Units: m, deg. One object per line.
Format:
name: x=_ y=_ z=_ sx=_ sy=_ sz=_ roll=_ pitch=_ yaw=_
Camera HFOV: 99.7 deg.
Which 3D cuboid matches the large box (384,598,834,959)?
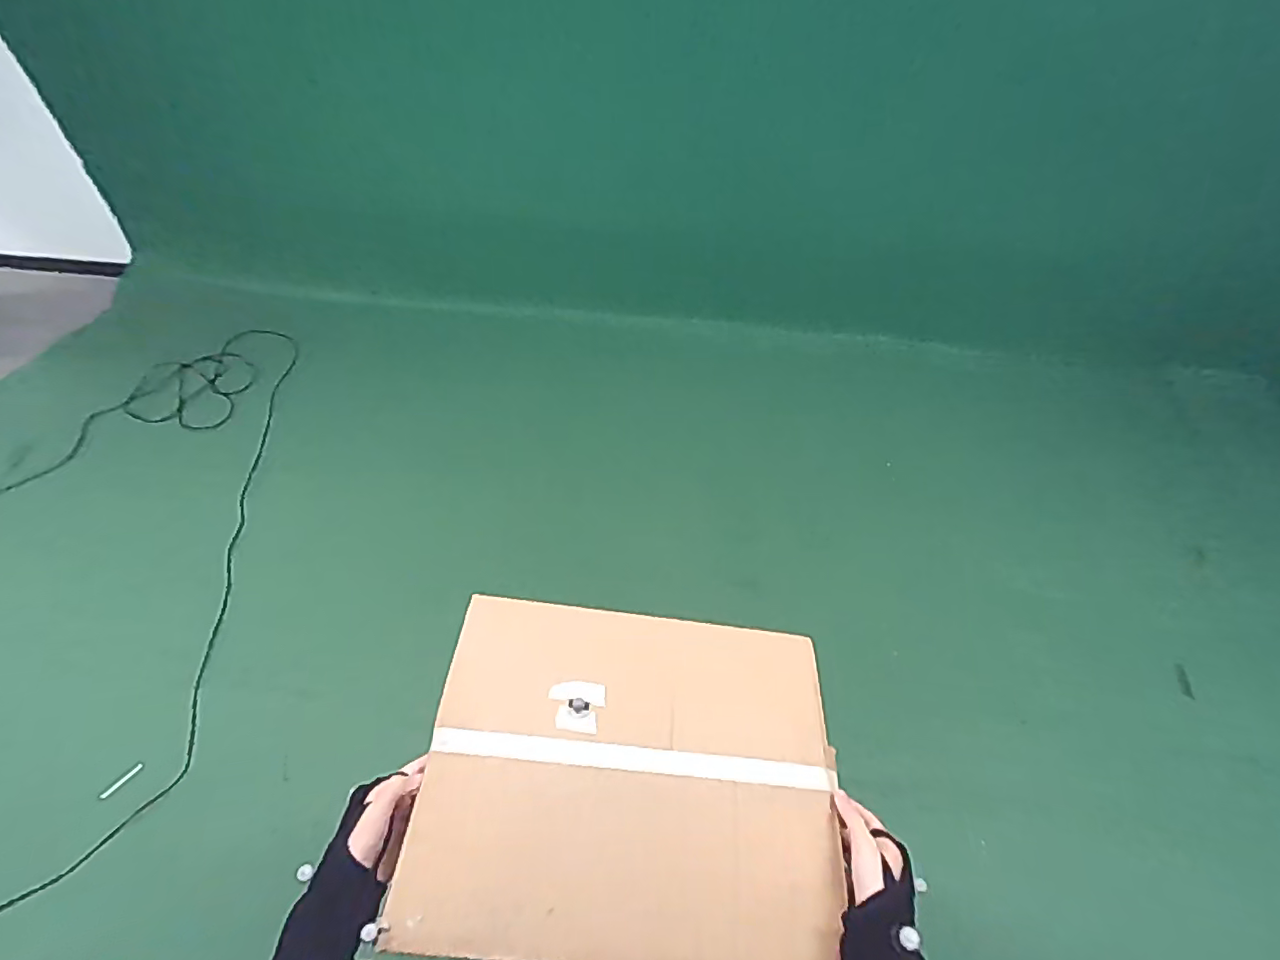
large box: x=-0.027 y=0.371 z=0.676 sx=0.408 sy=0.320 sz=0.320 roll=8 pitch=53 yaw=-3
